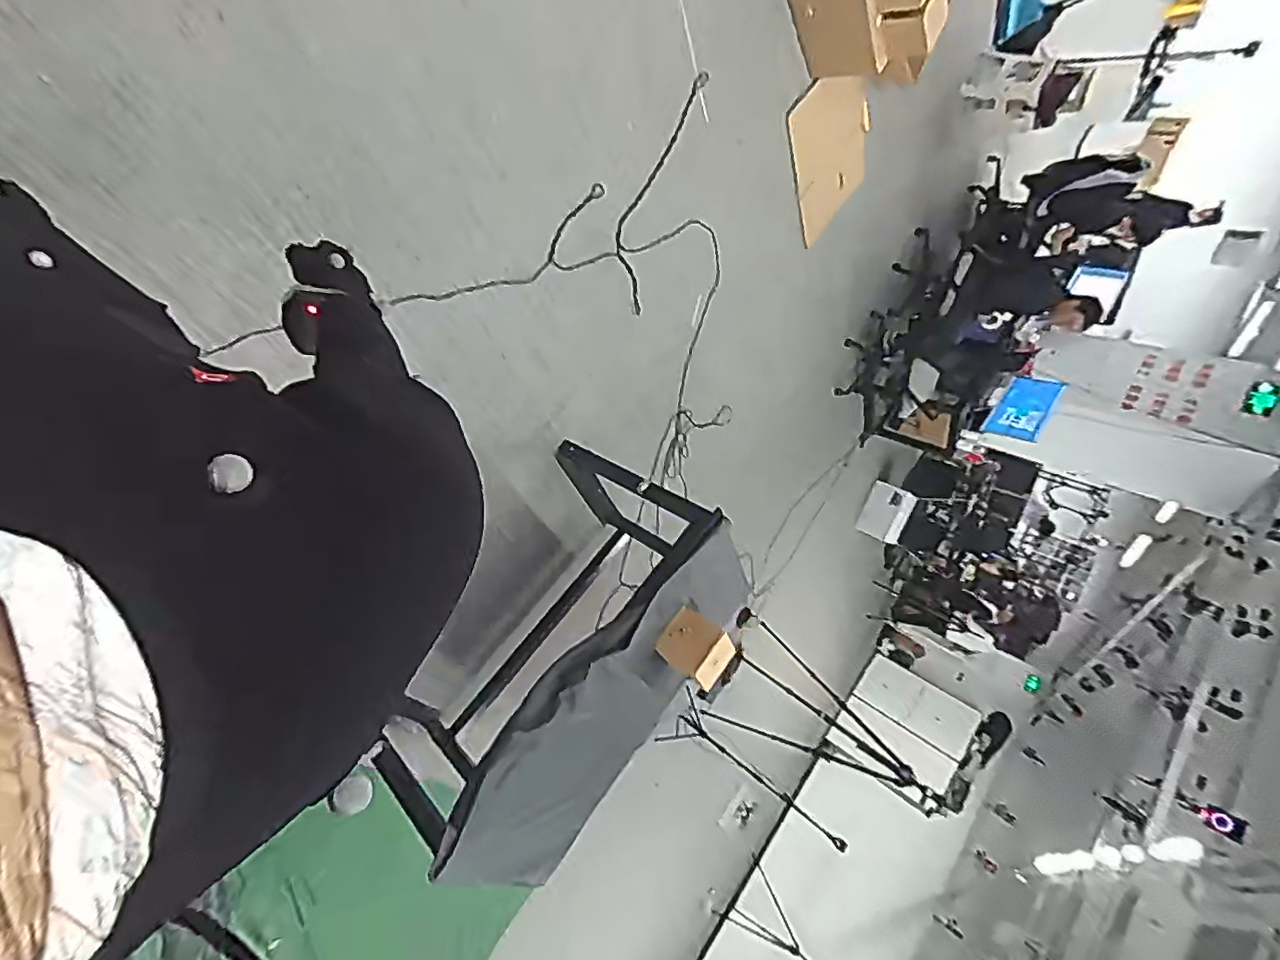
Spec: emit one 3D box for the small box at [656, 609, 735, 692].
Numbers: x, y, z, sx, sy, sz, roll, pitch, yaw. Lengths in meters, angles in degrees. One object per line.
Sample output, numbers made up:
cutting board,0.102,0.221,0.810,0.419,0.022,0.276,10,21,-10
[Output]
small box,0.179,0.544,1.741,0.168,0.176,0.179,-50,142,-17
